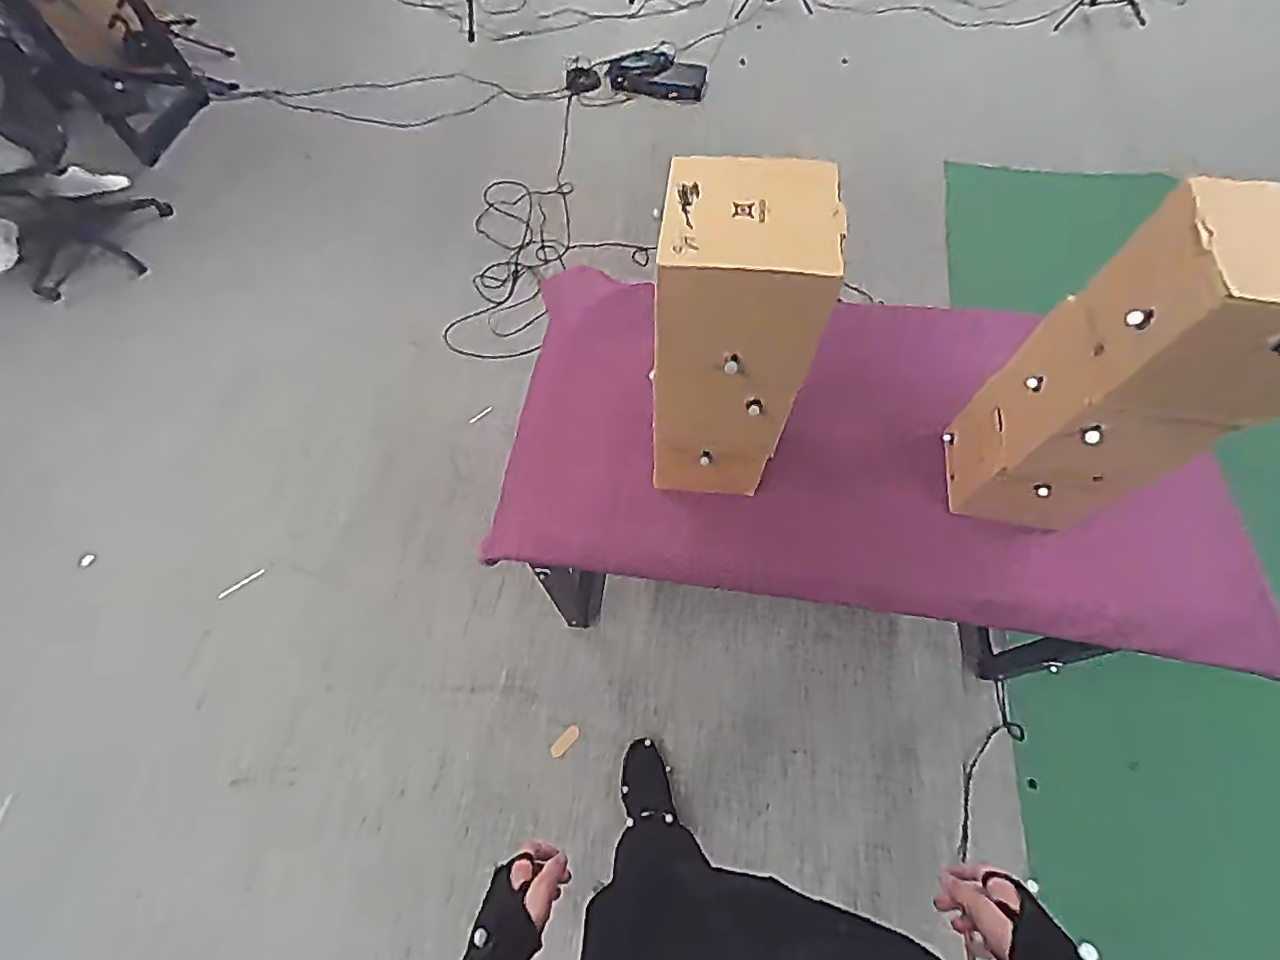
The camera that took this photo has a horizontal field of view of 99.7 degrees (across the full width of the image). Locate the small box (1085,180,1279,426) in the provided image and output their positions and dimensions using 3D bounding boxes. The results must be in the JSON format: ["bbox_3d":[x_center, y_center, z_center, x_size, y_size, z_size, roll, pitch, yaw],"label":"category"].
[{"bbox_3d":[0.606,-0.175,0.561,0.179,0.176,0.168,11,64,7],"label":"small box"}]

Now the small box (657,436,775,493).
[{"bbox_3d":[0.123,-0.089,0.903,0.179,0.176,0.168,5,63,5],"label":"small box"}]

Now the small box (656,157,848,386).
[{"bbox_3d":[0.115,-0.222,0.602,0.179,0.176,0.168,6,63,4],"label":"small box"}]

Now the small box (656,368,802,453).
[{"bbox_3d":[0.119,-0.151,0.749,0.179,0.176,0.168,6,63,5],"label":"small box"}]

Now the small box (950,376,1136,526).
[{"bbox_3d":[0.617,-0.040,0.860,0.179,0.176,0.168,9,63,6],"label":"small box"}]
